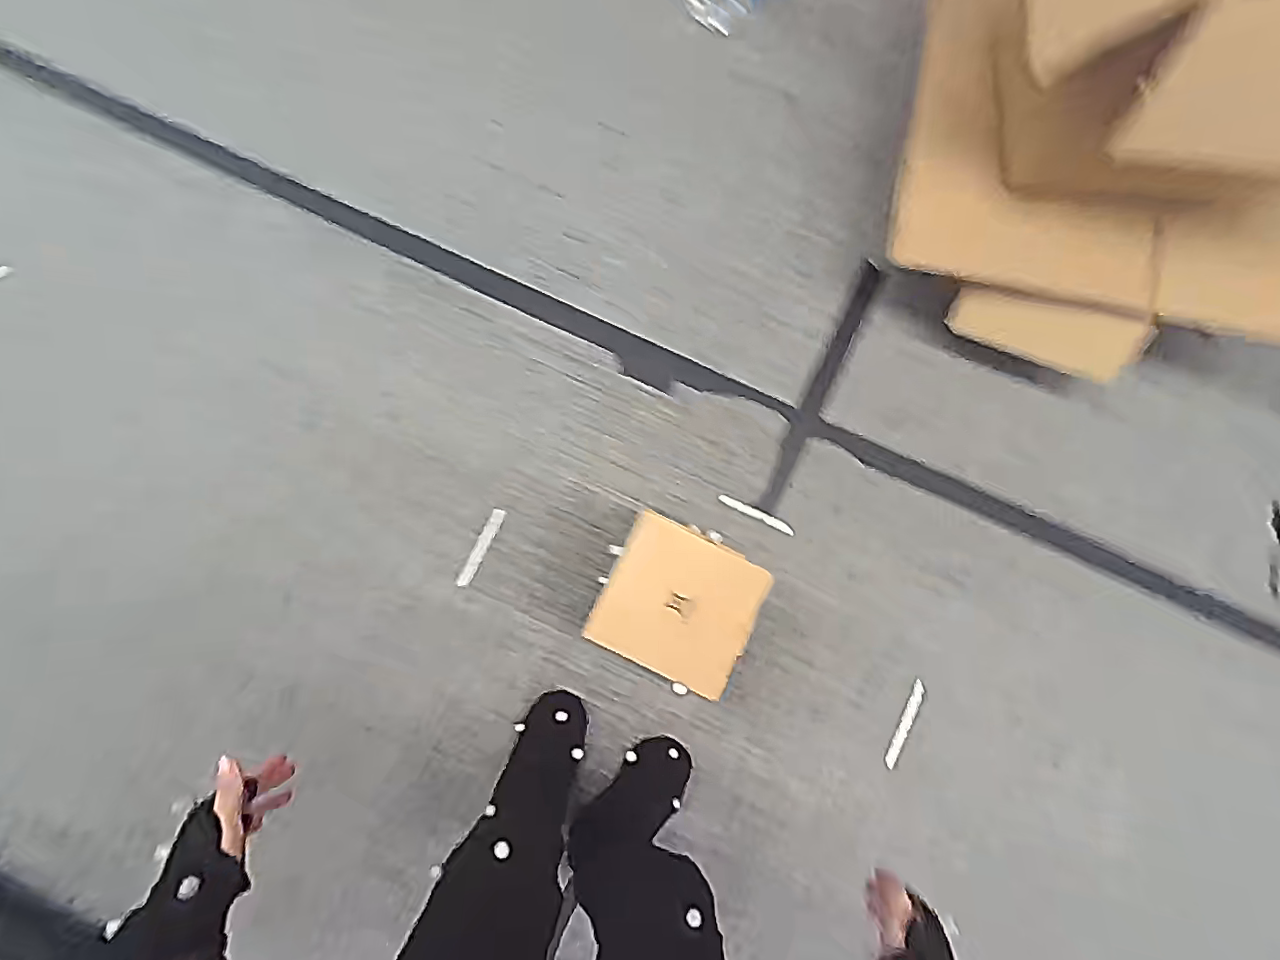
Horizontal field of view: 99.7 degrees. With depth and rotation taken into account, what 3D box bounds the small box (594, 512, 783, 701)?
[{"bbox_3d":[0.055,0.157,0.714,0.179,0.176,0.168,27,84,1],"label":"small box"}]
